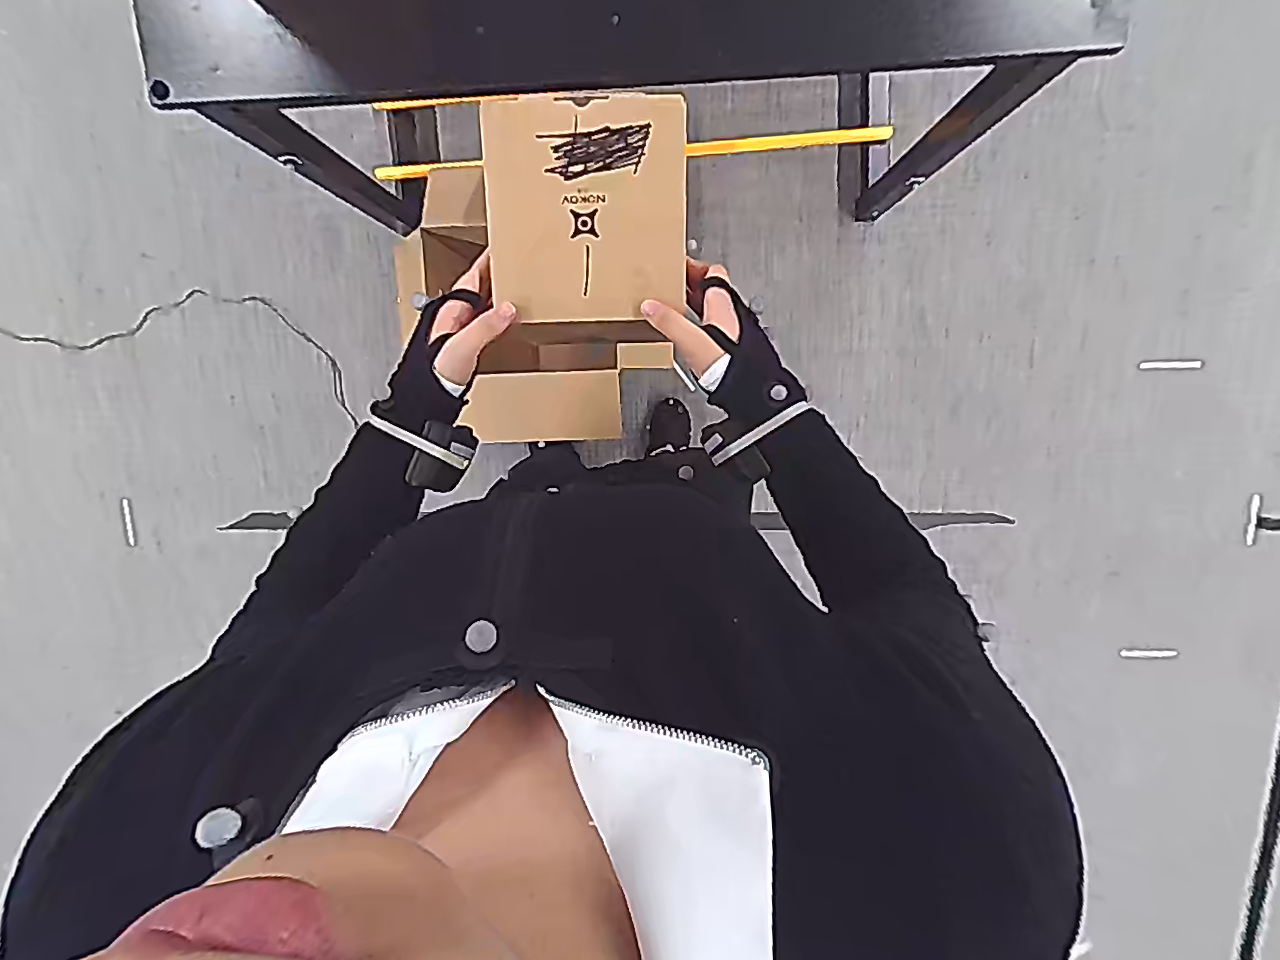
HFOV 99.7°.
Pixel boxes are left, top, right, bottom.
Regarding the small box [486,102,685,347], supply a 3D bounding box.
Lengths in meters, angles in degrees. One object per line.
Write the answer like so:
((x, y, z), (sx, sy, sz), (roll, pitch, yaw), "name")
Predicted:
((-0.044, -0.230, 0.529), (0.168, 0.176, 0.179), (-1, 98, 1), "small box")
